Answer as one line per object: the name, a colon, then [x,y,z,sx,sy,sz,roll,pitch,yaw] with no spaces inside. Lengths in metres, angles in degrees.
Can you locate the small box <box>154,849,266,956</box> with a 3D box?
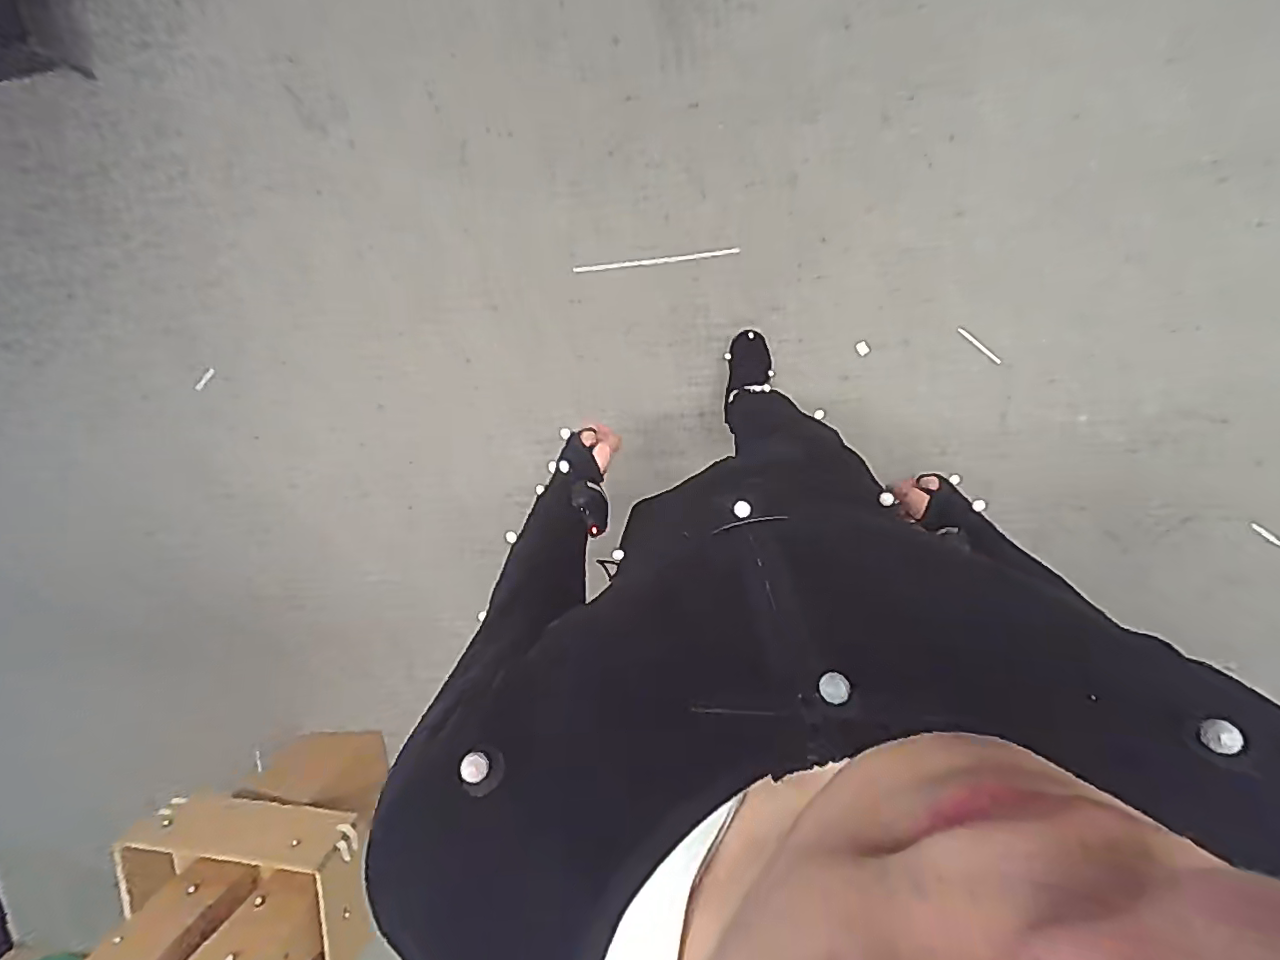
small box: [-1.182,1.164,1.498,0.179,0.176,0.168,-1,98,7]

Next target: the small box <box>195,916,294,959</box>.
small box: [-0.961,1.194,1.292,0.179,0.176,0.168,1,98,9]

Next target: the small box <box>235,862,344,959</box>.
small box: [-0.933,1.170,1.451,0.179,0.176,0.168,2,99,10]
